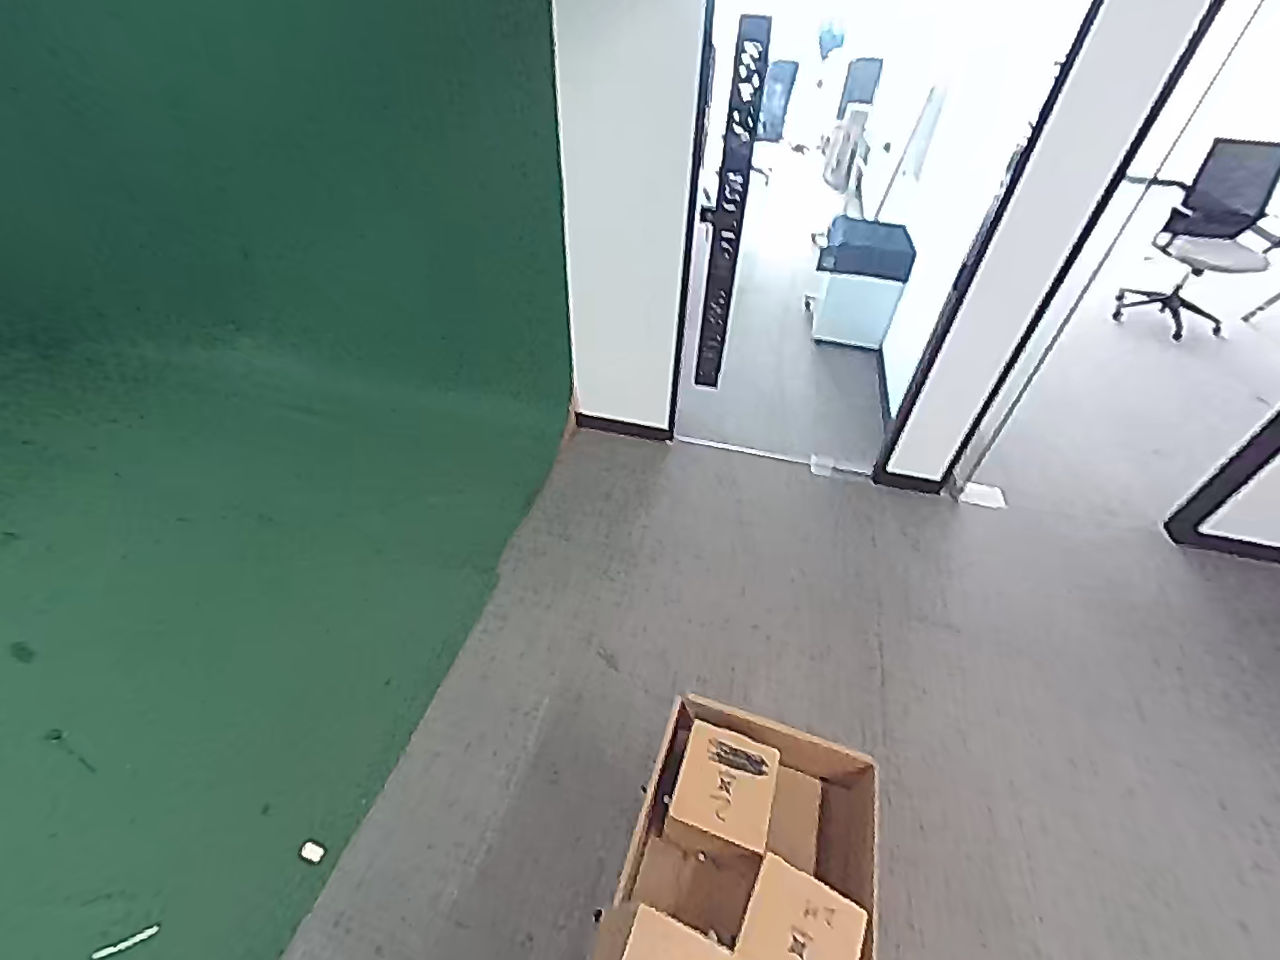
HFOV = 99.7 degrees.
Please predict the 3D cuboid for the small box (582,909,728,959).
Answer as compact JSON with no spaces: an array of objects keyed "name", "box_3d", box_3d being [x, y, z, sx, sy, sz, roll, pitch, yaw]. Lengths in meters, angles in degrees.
[{"name":"small box","box_3d":[0.019,0.582,0.561,0.179,0.176,0.168,27,47,3]}]
